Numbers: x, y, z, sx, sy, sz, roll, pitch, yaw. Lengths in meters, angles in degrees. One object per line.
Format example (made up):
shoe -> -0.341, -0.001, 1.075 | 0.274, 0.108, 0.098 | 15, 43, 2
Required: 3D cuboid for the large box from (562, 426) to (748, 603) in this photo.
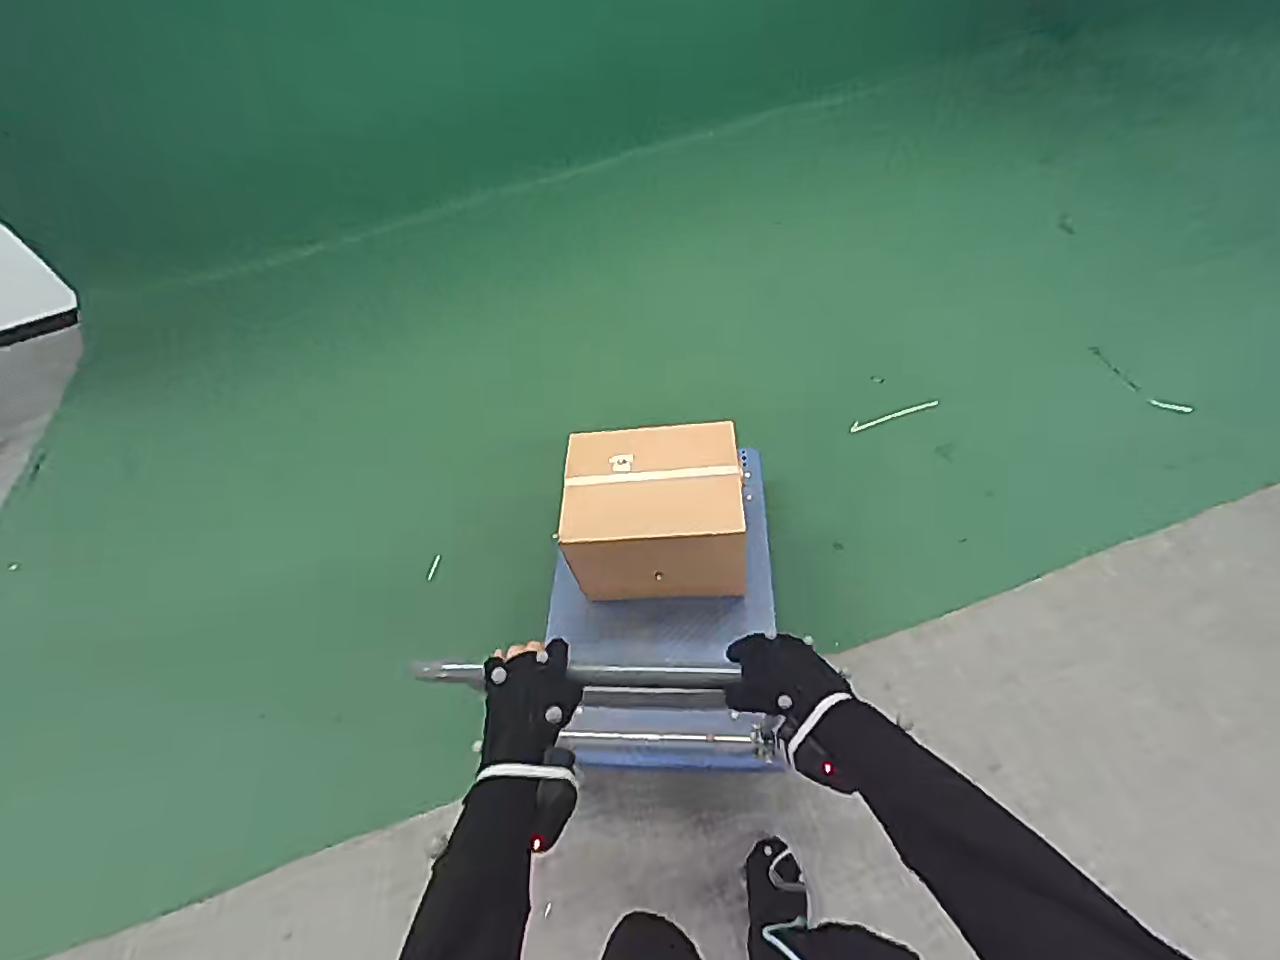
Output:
large box -> 0.050, 0.097, 1.358 | 0.408, 0.320, 0.320 | -5, 52, 7
